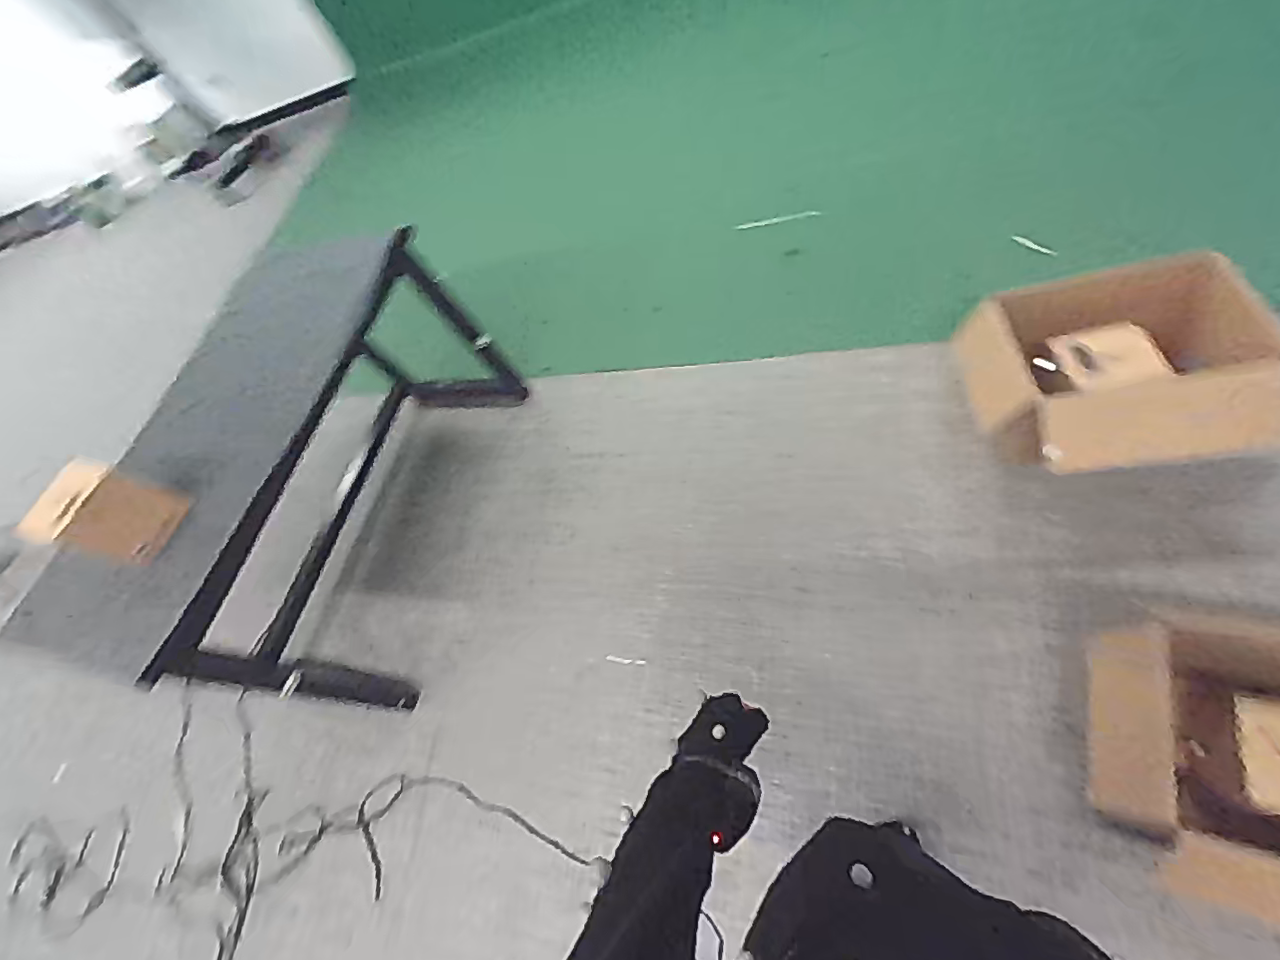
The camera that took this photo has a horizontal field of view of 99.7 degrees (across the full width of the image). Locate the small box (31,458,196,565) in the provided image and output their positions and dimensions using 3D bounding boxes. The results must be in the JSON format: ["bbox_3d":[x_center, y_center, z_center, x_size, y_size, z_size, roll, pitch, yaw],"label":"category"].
[{"bbox_3d":[-1.121,0.071,1.166,0.179,0.176,0.168,7,65,26],"label":"small box"}]
